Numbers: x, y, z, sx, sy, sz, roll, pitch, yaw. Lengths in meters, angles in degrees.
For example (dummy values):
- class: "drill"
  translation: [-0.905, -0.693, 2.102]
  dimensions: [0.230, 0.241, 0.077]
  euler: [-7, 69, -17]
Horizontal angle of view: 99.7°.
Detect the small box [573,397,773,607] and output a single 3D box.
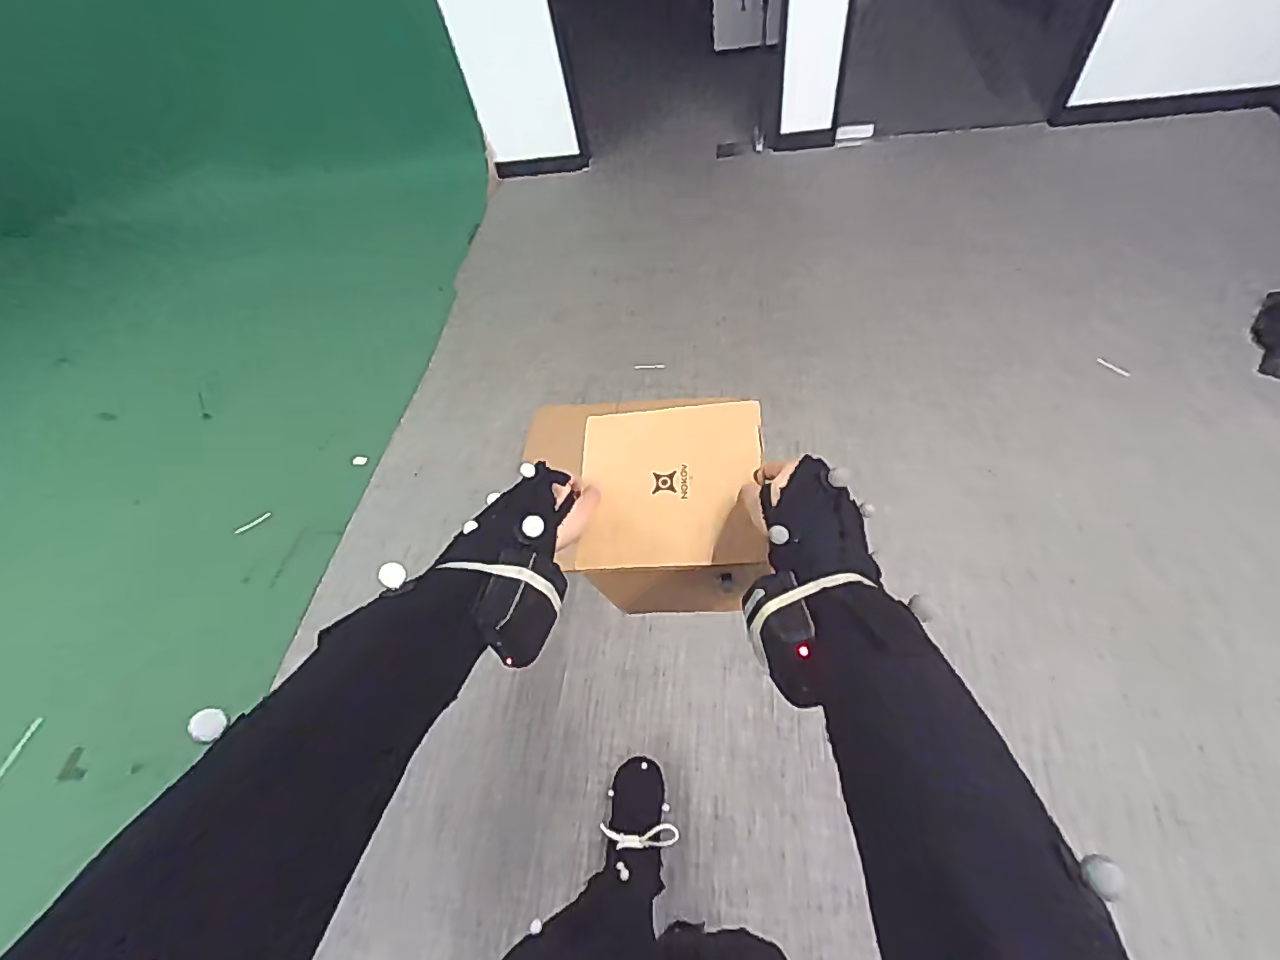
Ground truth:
- class: "small box"
  translation: [0.045, 0.035, 0.572]
  dimensions: [0.179, 0.176, 0.168]
  euler: [-4, 63, 12]
